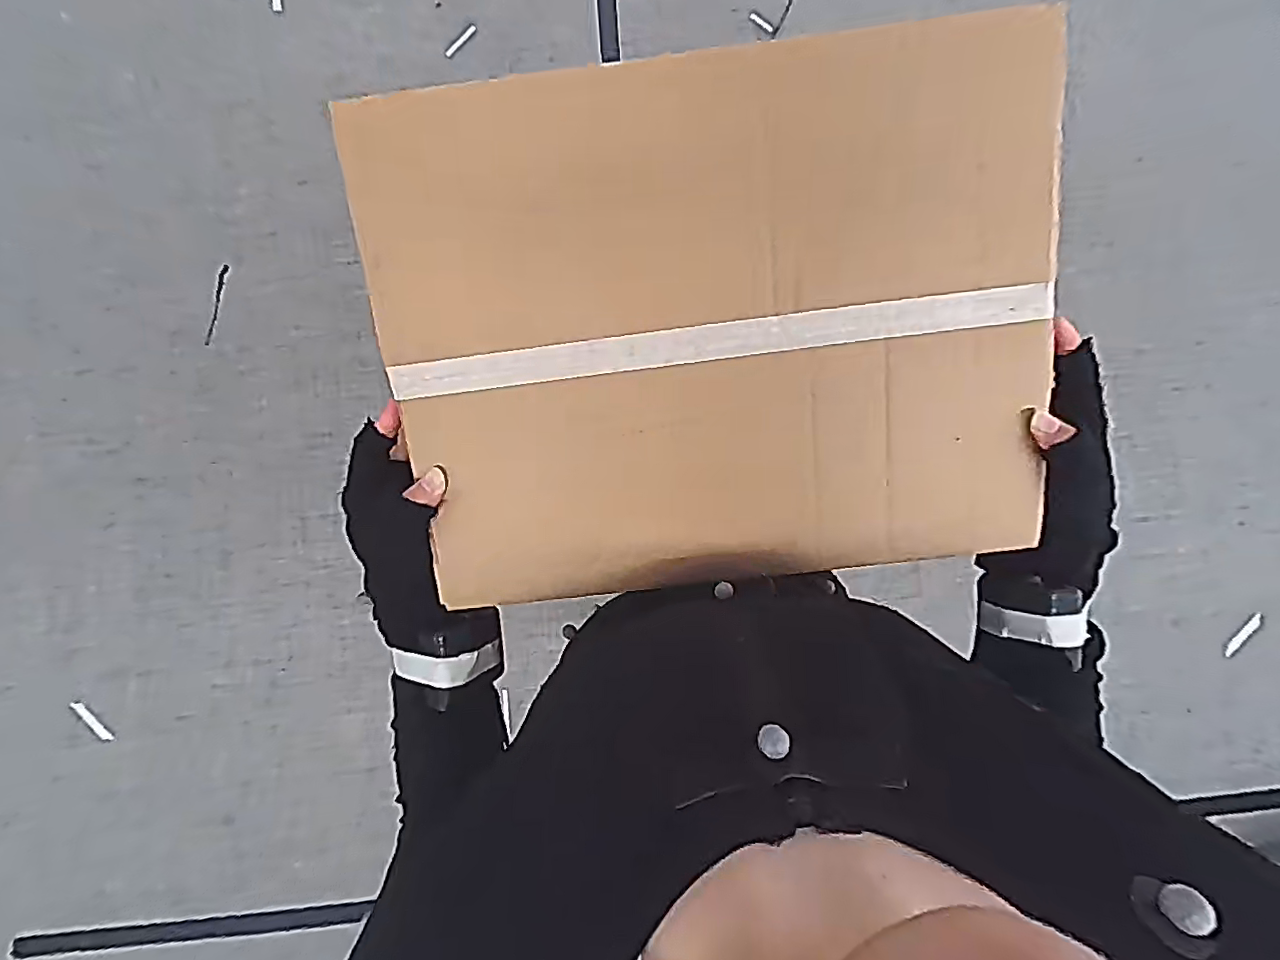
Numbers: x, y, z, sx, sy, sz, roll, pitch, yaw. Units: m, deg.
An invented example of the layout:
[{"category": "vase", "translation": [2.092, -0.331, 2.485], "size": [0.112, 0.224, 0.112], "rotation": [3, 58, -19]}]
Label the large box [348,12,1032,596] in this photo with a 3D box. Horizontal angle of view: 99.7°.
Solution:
[{"category": "large box", "translation": [0.041, -0.123, 0.487], "size": [0.408, 0.320, 0.320], "rotation": [-7, 104, 1]}]
